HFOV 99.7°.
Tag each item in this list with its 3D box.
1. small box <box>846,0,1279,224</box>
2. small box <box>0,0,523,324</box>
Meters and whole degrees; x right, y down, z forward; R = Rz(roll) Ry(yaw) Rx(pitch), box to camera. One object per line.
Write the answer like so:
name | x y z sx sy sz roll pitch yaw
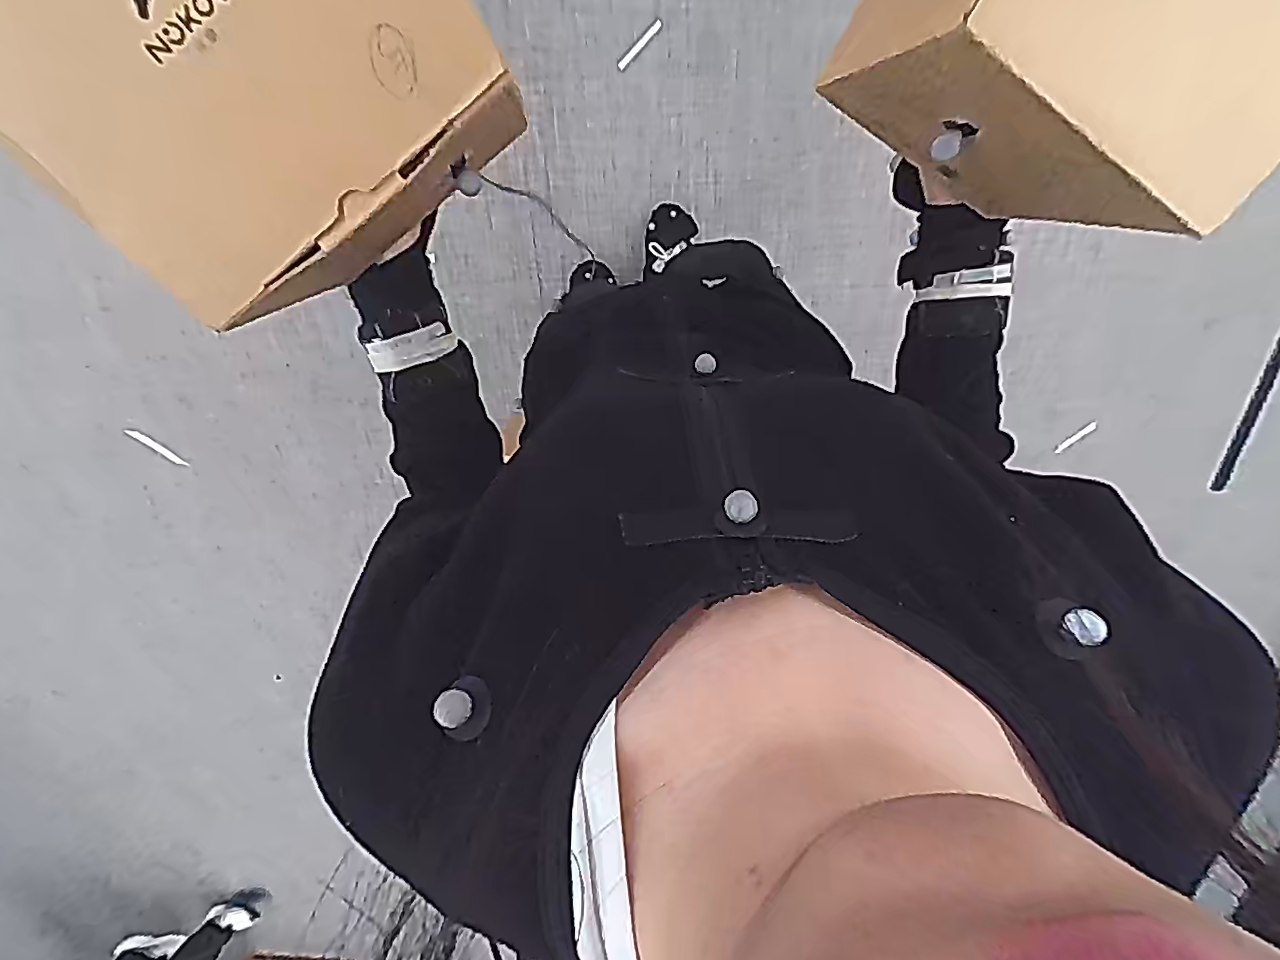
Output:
small box | 0.234 -0.257 0.272 0.168 0.176 0.179 24 113 -17
small box | -0.169 -0.205 0.248 0.168 0.176 0.179 -36 116 9
